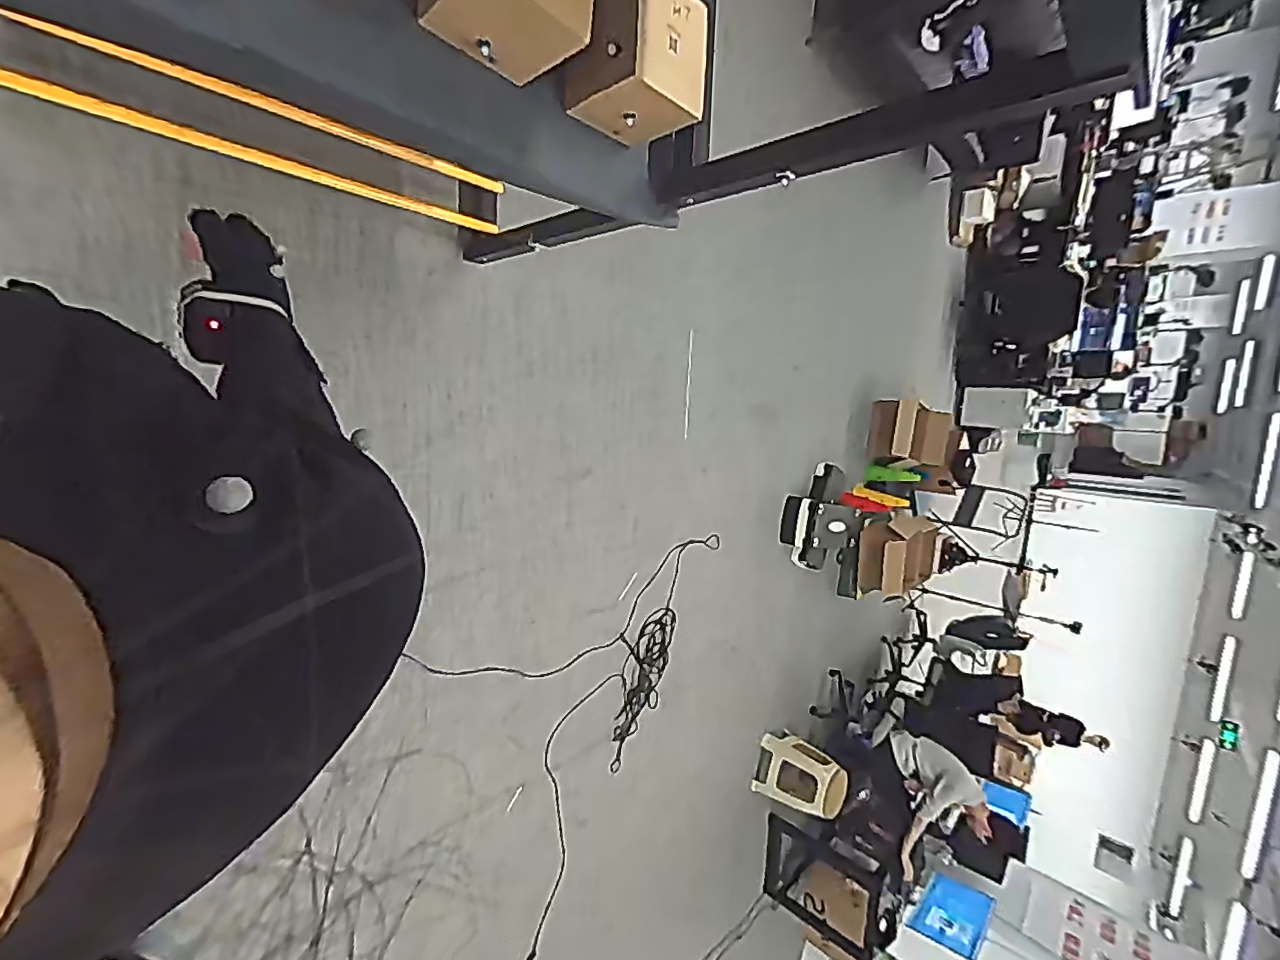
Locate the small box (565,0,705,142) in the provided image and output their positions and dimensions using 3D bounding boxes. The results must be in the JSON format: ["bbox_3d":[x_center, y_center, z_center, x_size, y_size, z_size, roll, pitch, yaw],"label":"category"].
[{"bbox_3d":[-0.012,-0.699,0.899,0.168,0.176,0.179,-6,101,-47],"label":"small box"}]
